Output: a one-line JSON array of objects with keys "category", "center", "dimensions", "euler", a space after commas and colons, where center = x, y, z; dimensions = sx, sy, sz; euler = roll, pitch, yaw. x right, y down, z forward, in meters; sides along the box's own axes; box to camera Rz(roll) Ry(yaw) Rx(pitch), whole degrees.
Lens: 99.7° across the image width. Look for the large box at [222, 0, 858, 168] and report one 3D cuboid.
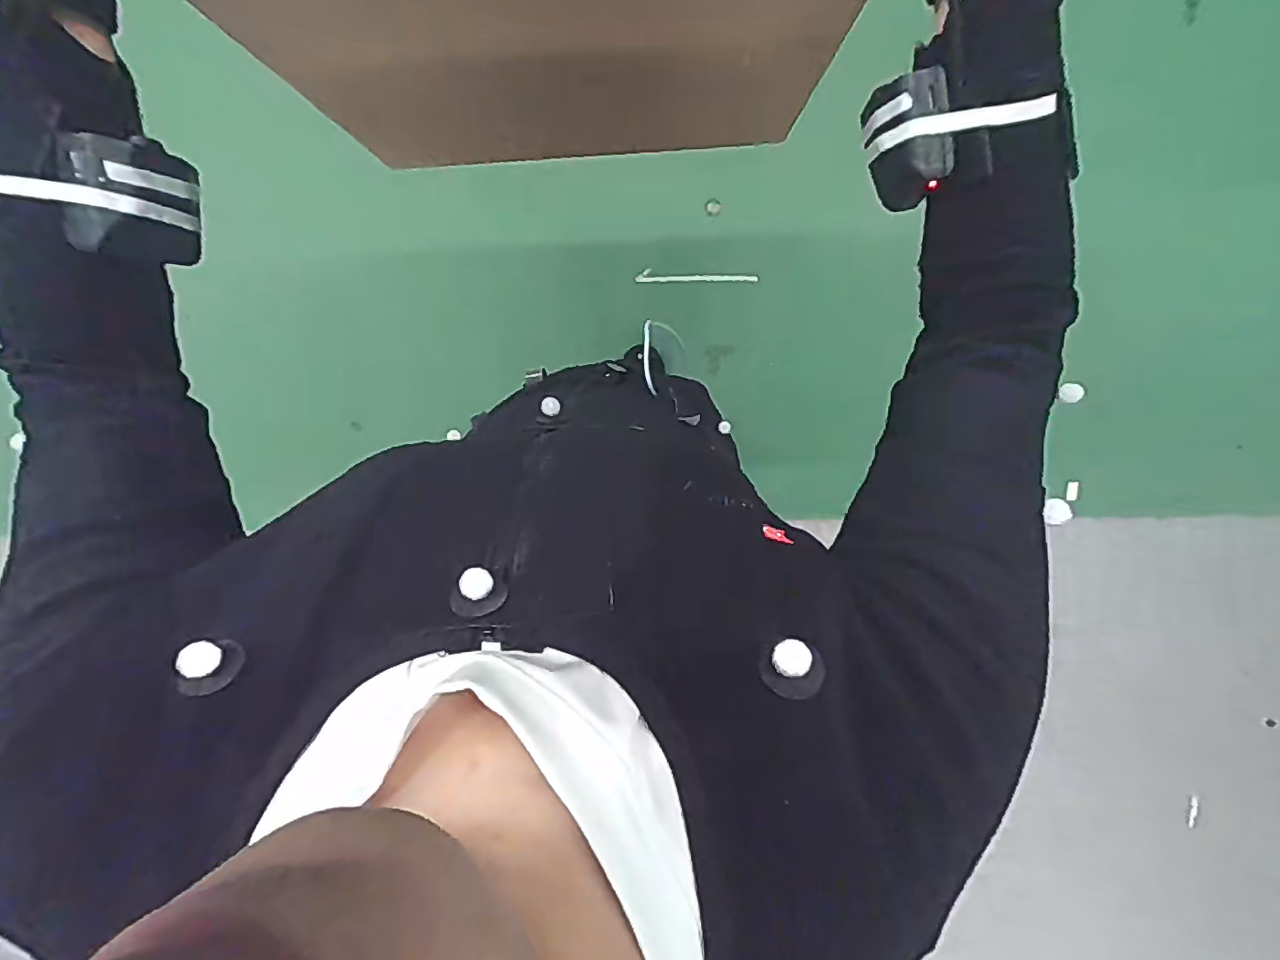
[{"category": "large box", "center": [-0.063, -0.456, 0.378], "dimensions": [0.408, 0.320, 0.320], "euler": [-5, 101, 0]}]
